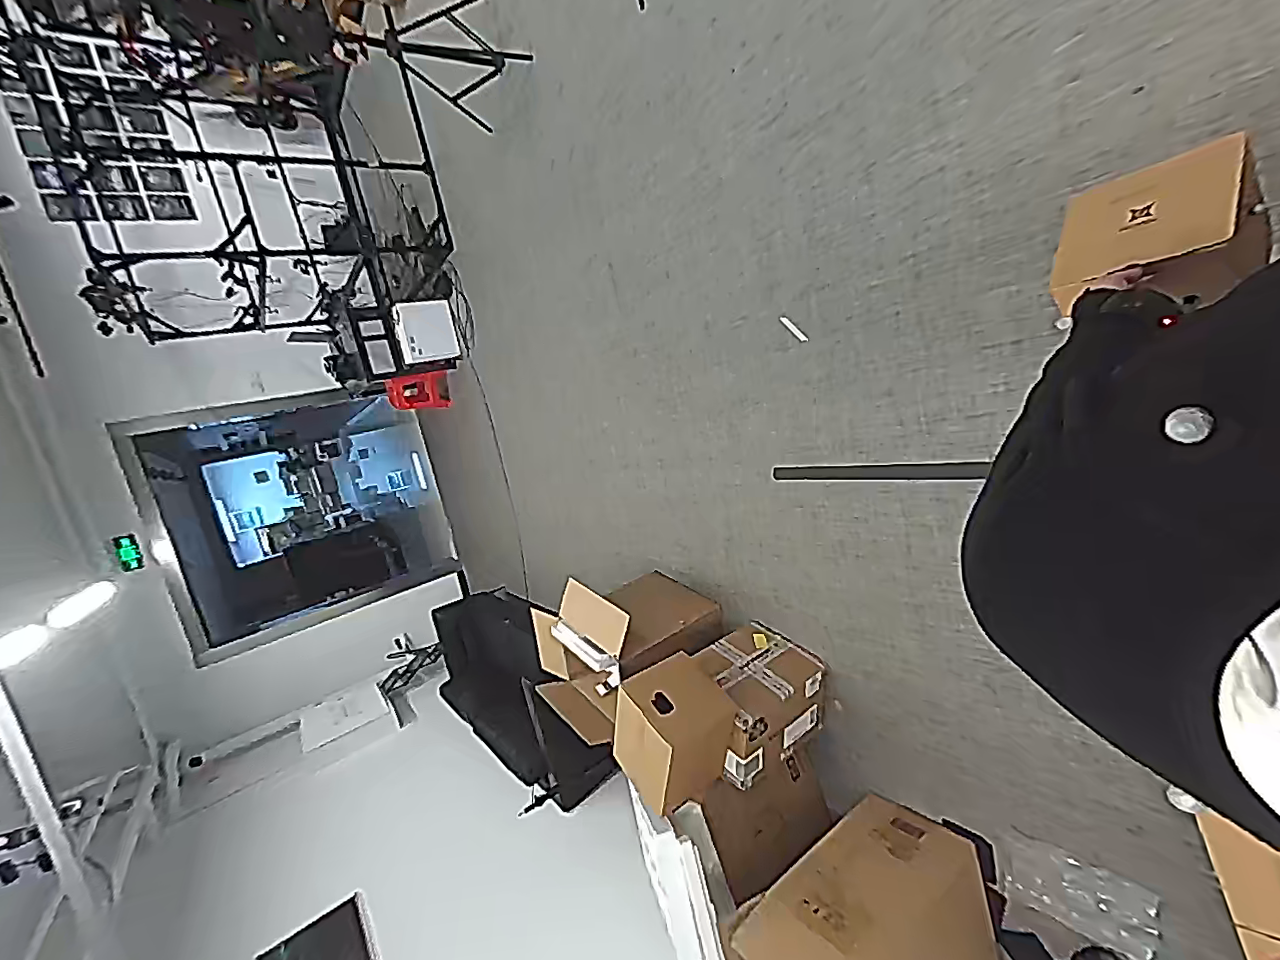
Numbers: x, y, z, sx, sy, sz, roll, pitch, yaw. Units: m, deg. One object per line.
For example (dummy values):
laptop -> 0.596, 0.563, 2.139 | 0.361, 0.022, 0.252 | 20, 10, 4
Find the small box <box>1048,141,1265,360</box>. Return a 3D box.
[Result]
small box -> 0.668, -0.274, 0.698 | 0.176, 0.179, 0.168 | 37, 160, -29
